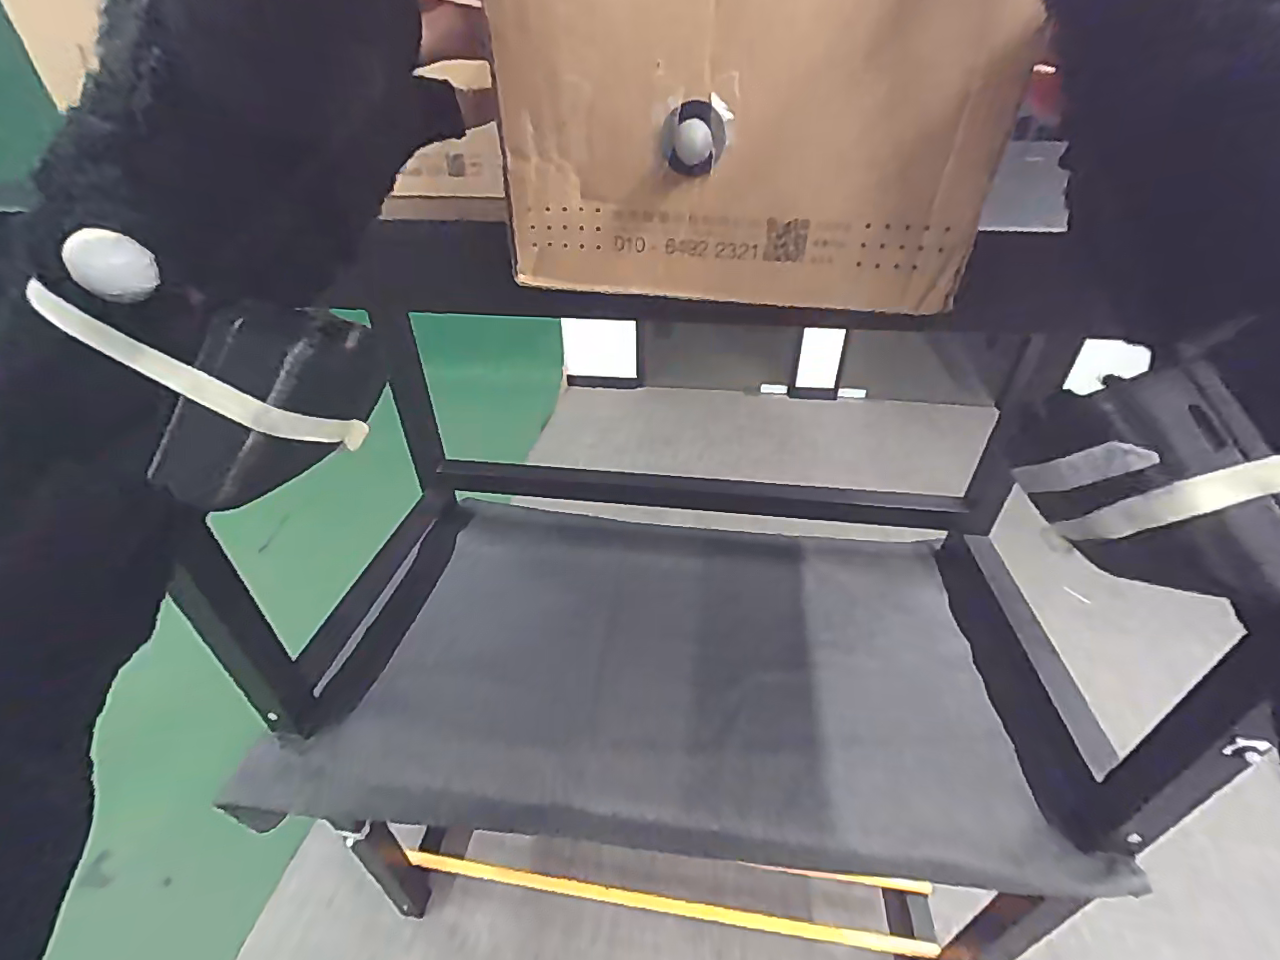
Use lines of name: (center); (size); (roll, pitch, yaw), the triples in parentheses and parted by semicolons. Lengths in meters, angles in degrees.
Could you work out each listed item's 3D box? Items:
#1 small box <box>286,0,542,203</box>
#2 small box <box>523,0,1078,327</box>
small box: (-0.134, -0.319, 0.418); (0.168, 0.176, 0.179); (6, 35, 8)
small box: (0.052, -0.181, 0.225); (0.168, 0.176, 0.179); (6, 39, 6)
